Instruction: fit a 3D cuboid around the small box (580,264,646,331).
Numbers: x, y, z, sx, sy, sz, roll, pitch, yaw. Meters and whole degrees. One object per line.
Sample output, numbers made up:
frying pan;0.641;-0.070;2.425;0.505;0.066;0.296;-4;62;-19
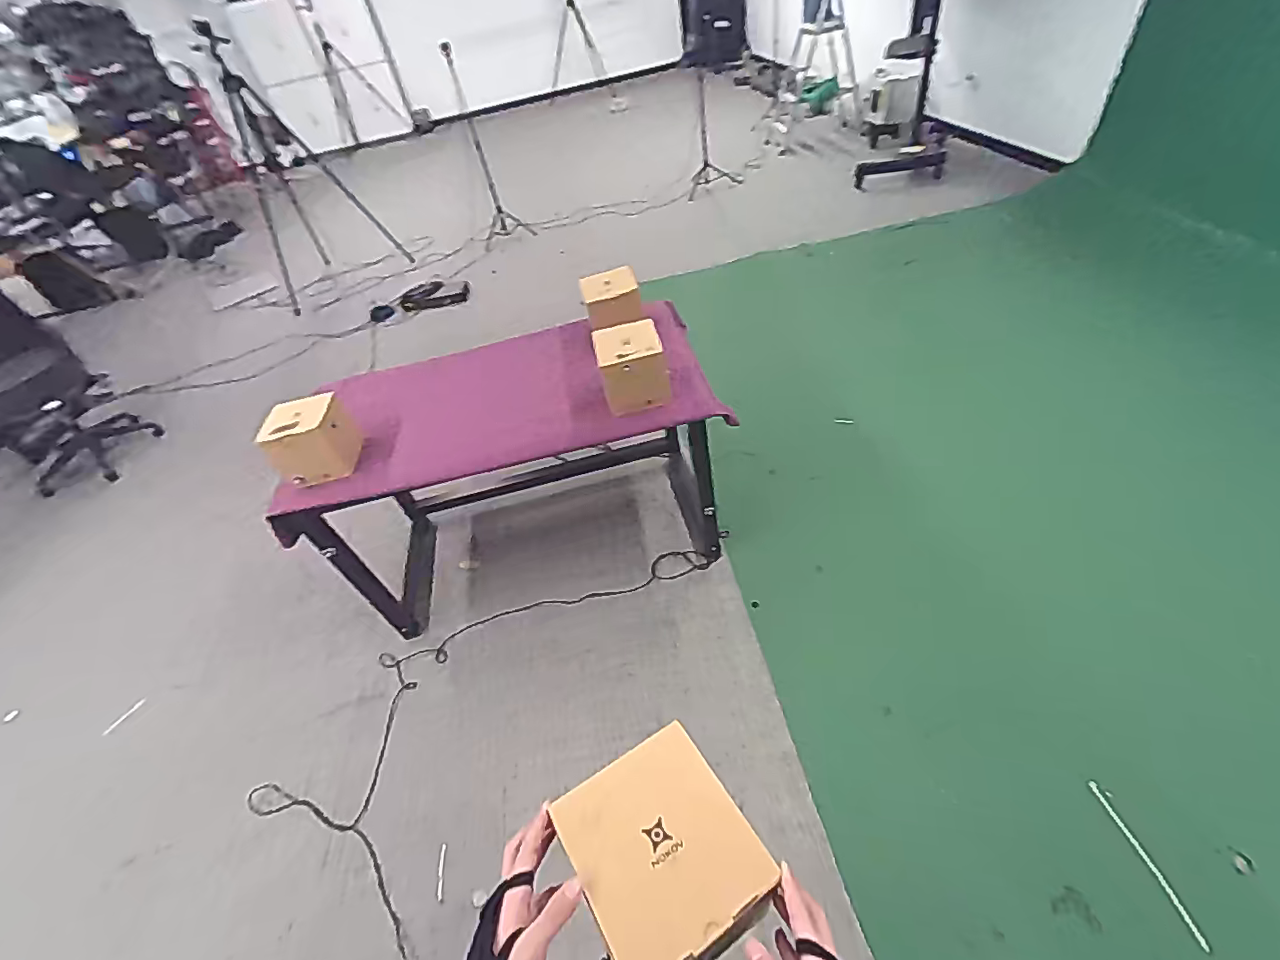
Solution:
small box;-0.081;-0.551;1.712;0.168;0.176;0.179;-18;46;1

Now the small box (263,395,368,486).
small box;-0.881;-0.102;1.489;0.168;0.176;0.179;-15;43;0

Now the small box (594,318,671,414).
small box;-0.020;-0.307;1.461;0.168;0.176;0.179;-15;45;2
